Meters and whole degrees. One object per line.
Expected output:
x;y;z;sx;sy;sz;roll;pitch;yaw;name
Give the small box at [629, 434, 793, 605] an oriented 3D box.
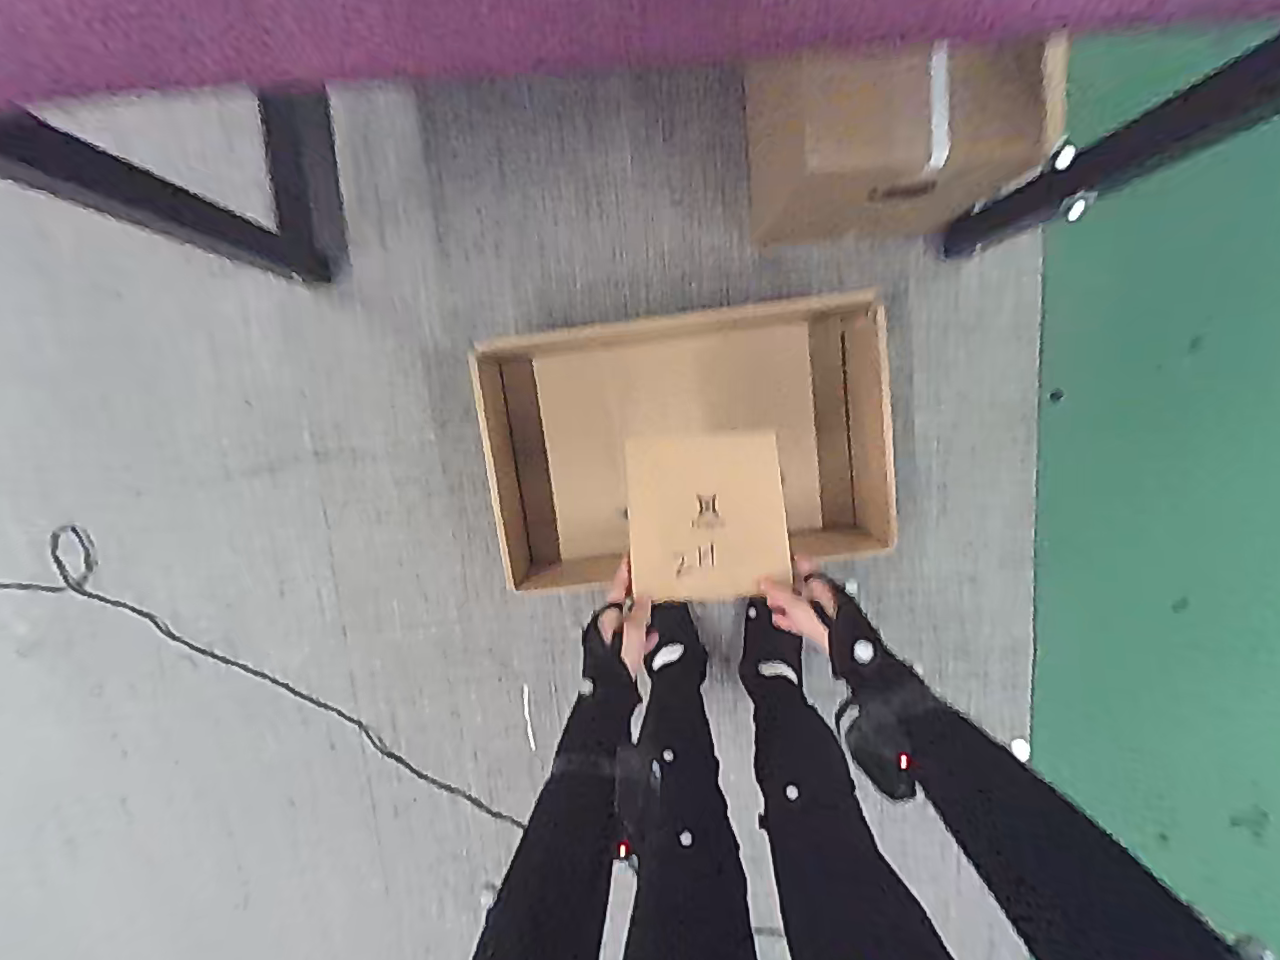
0.070;0.055;0.640;0.168;0.176;0.179;-2;77;-1;small box
